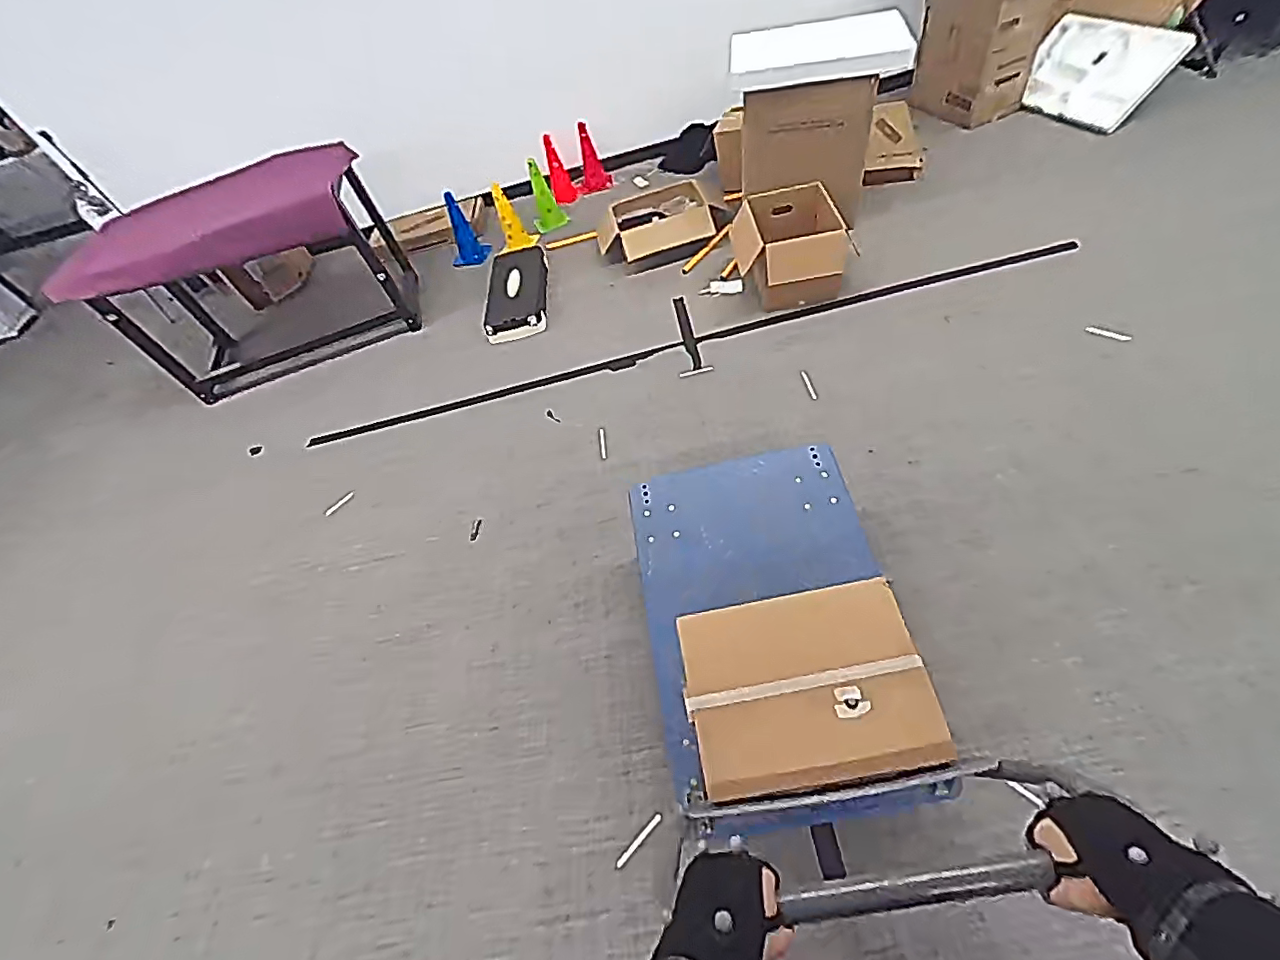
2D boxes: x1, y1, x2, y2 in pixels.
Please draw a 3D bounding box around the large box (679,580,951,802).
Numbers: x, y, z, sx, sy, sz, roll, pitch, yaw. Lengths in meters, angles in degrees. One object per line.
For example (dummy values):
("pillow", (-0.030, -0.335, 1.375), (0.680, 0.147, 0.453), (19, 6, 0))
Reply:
("large box", (0.313, 0.437, 1.089), (0.408, 0.320, 0.320), (-12, 59, 4))
